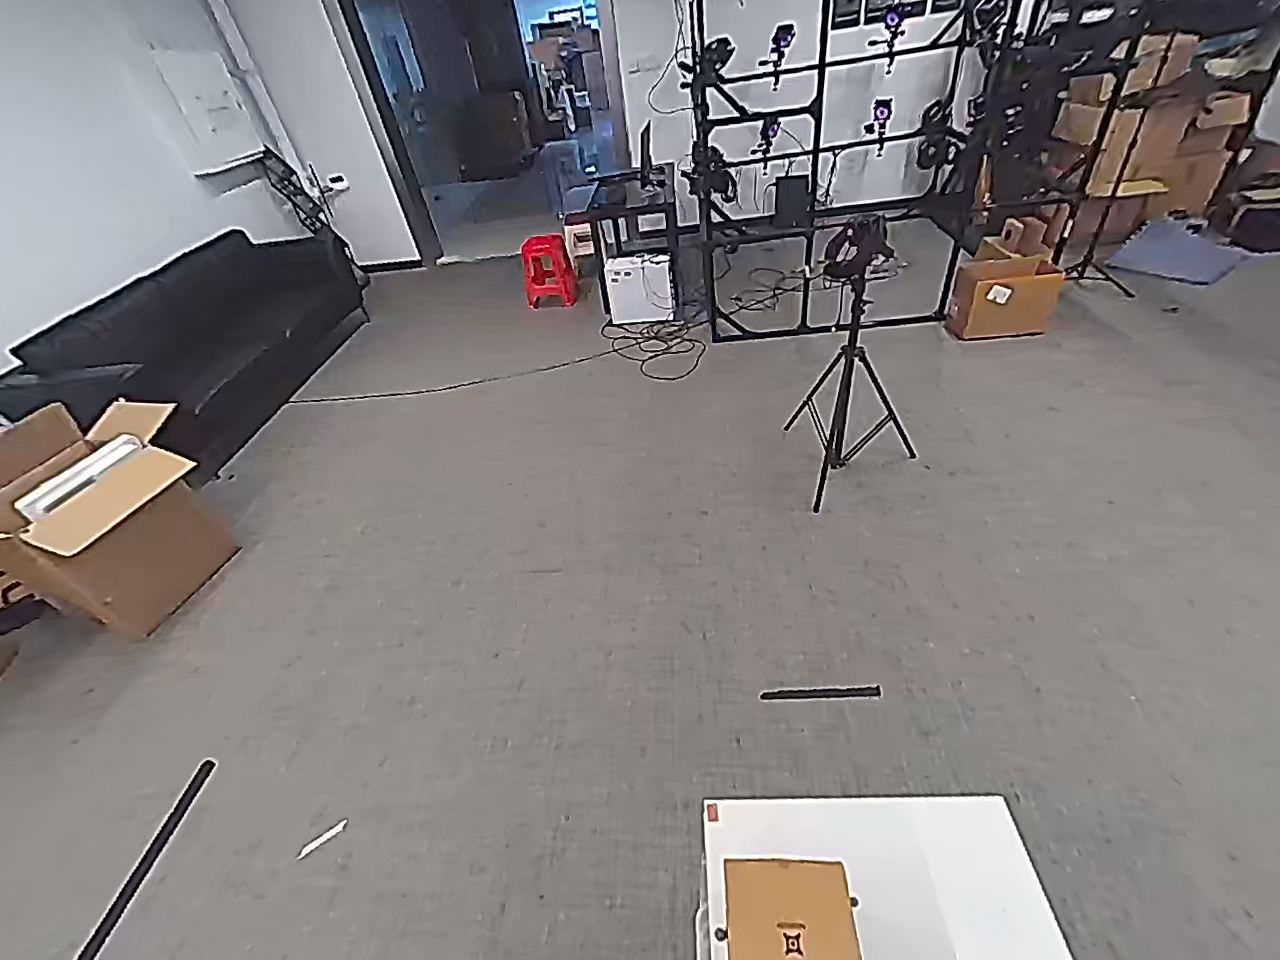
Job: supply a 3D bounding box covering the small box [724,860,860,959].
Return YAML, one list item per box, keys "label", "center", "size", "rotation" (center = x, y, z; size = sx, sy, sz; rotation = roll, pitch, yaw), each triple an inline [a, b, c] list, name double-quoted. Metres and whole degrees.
- label: "small box"
  center: [0.205, 0.651, 0.743]
  size: [0.168, 0.176, 0.179]
  rotation: [-4, 40, 7]
